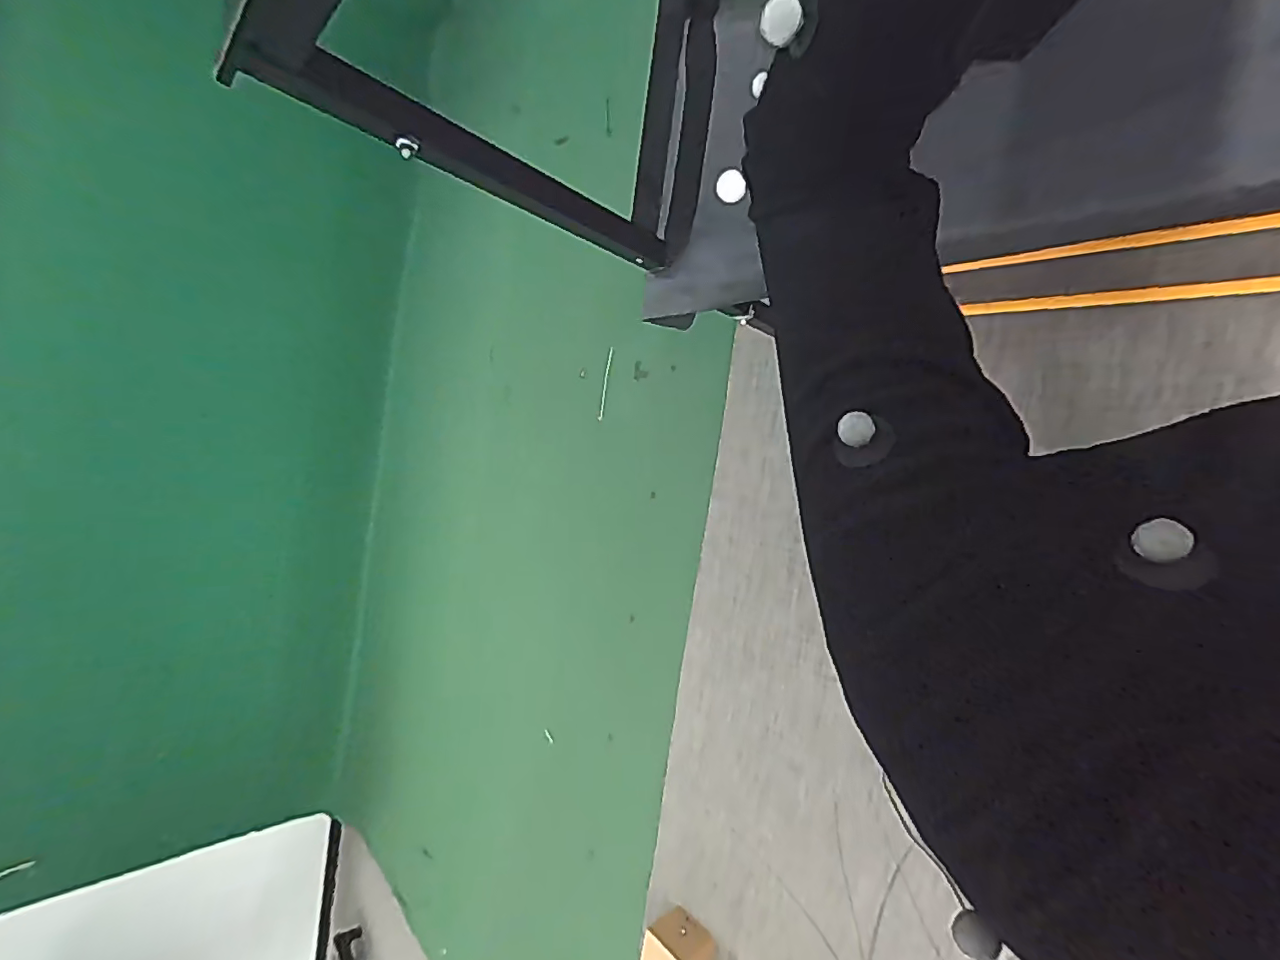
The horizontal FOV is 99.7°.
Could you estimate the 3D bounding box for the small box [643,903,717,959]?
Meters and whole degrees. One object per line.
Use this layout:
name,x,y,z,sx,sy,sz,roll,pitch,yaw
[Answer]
small box,0.133,1.555,1.779,0.168,0.176,0.179,12,95,46
